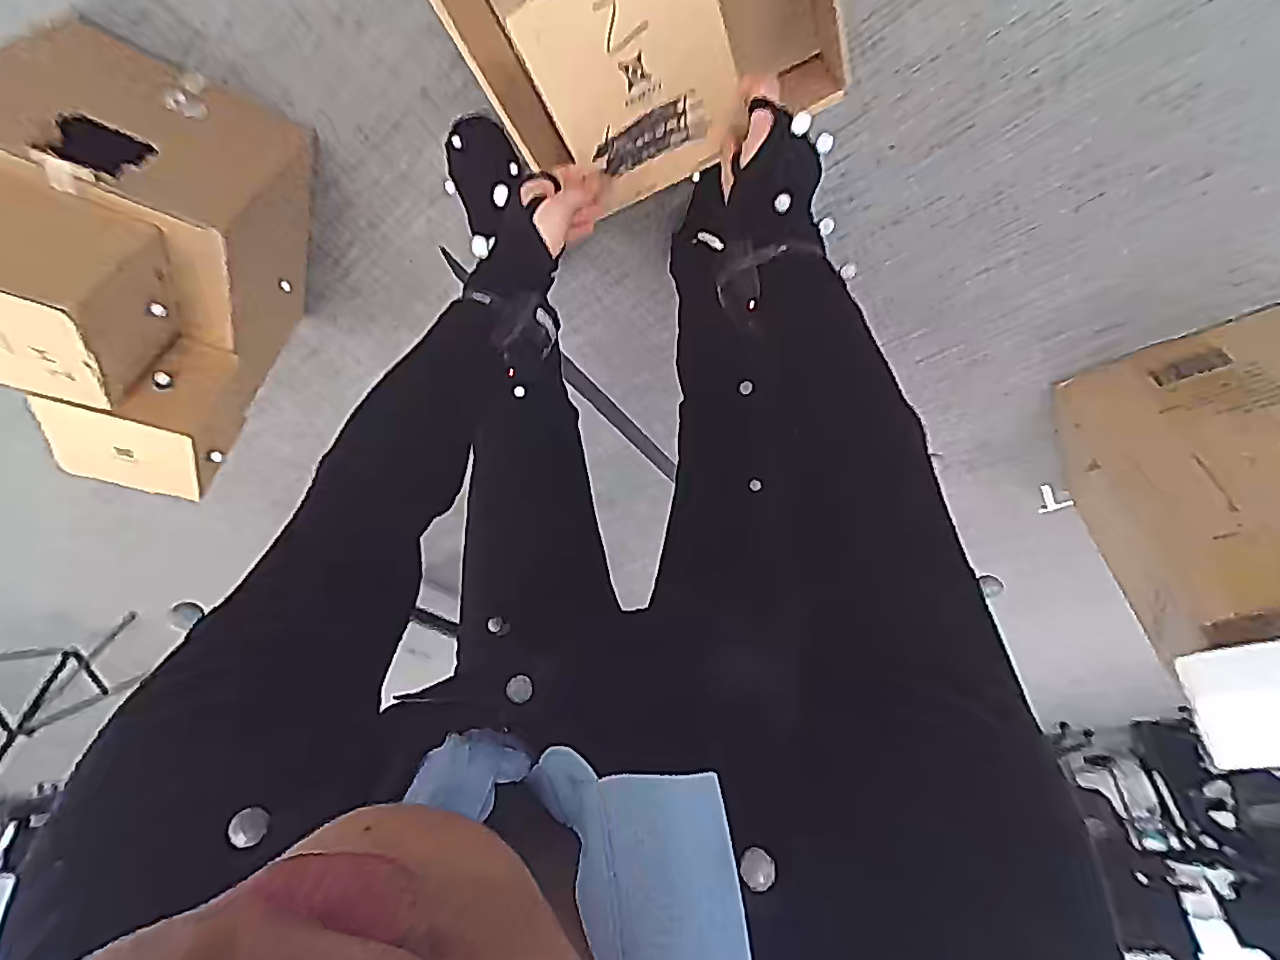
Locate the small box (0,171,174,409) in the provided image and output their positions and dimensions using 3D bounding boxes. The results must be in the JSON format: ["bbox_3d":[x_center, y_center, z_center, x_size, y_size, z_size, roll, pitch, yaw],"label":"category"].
[{"bbox_3d":[-0.687,-0.217,0.615,0.179,0.176,0.168,17,141,-21],"label":"small box"}]

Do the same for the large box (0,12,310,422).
[{"bbox_3d":[-0.728,-0.365,0.826,0.320,0.320,0.408,19,140,-21],"label":"large box"}]
